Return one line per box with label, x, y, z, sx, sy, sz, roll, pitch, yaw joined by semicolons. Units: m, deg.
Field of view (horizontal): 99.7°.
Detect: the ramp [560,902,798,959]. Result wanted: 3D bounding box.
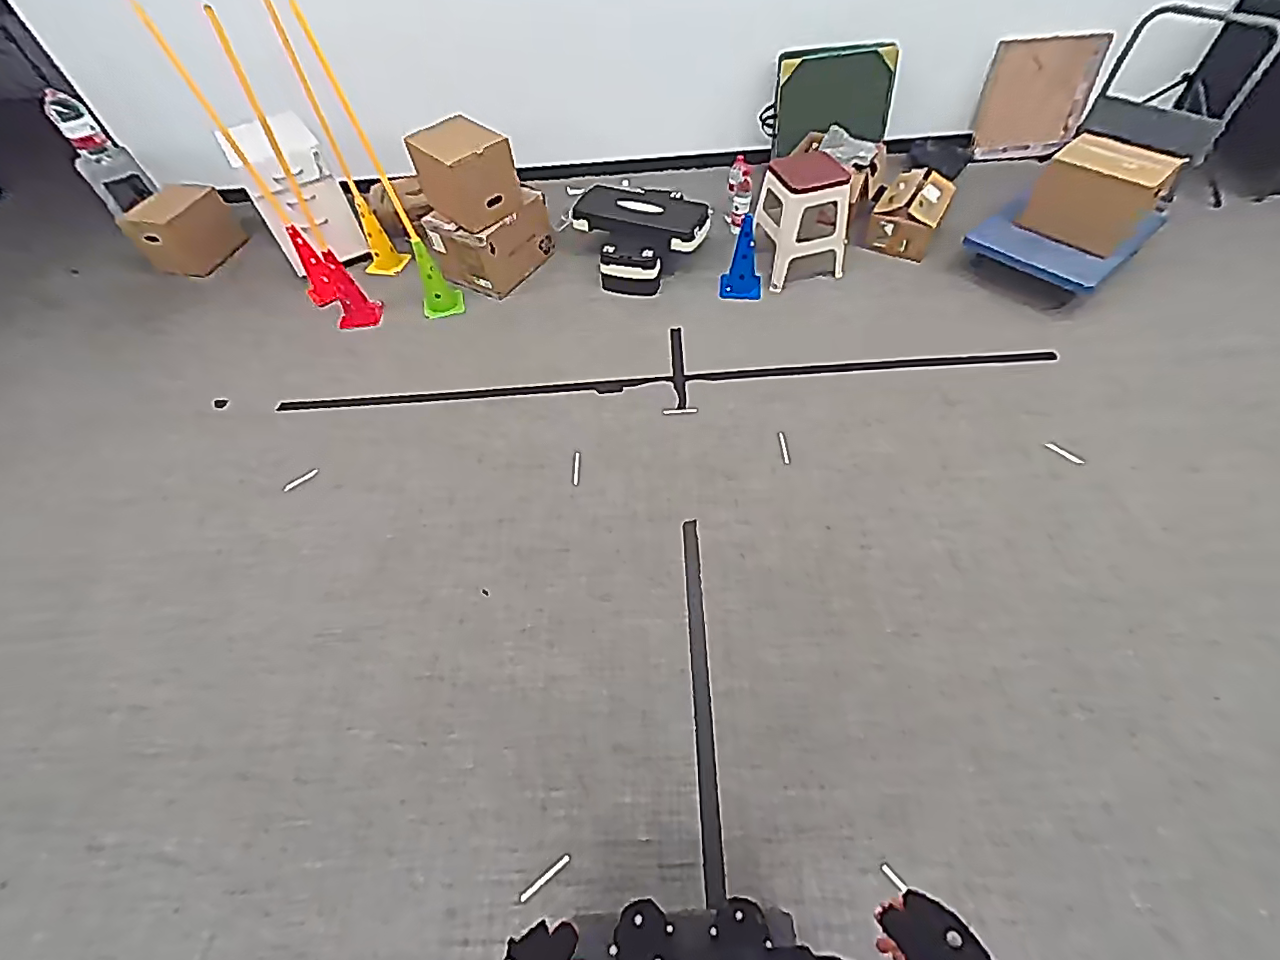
ramp;0.098;1.350;0.923;0.509;0.206;0.991;-4;54;0
